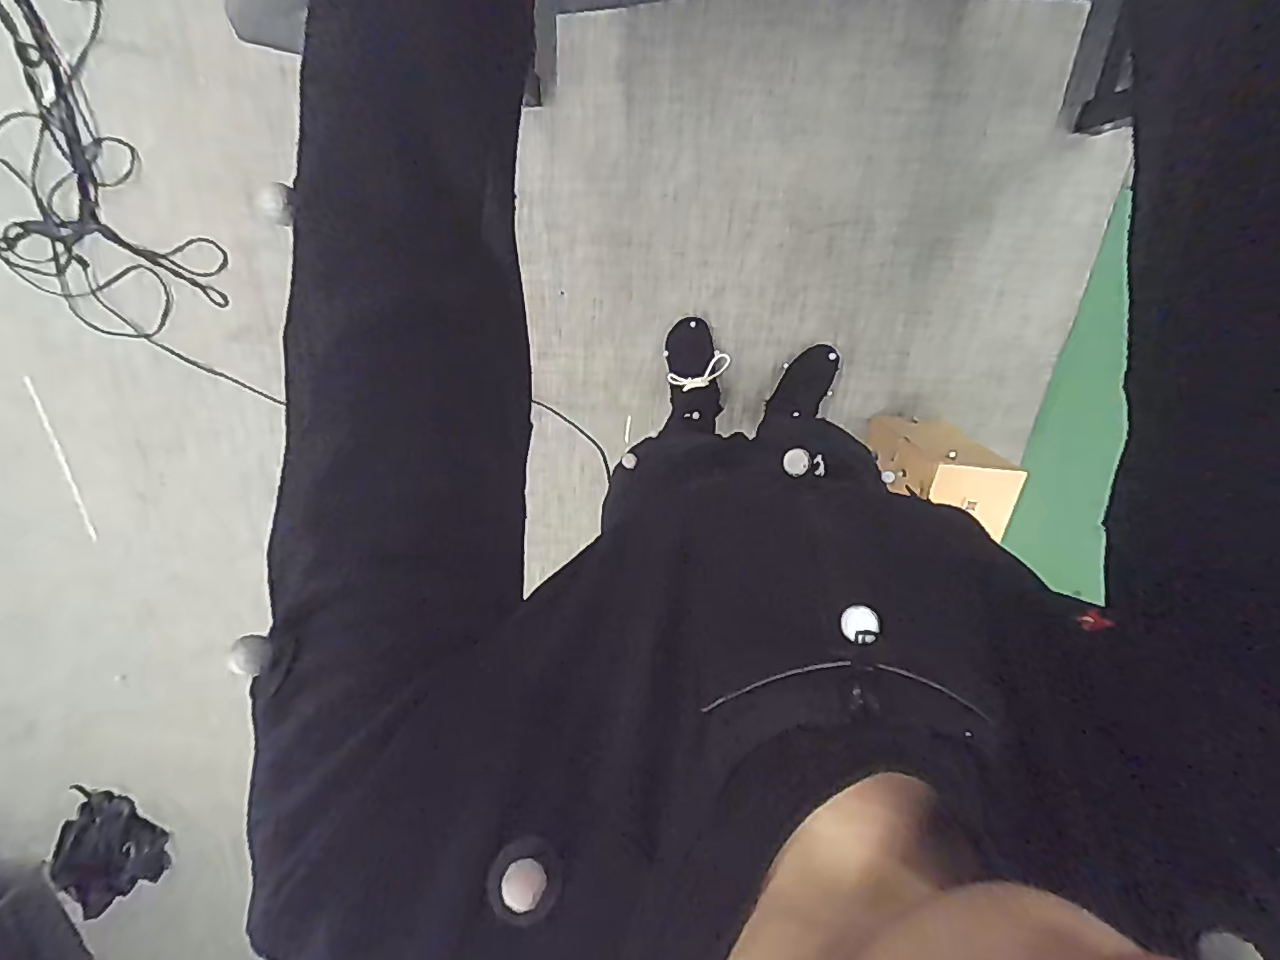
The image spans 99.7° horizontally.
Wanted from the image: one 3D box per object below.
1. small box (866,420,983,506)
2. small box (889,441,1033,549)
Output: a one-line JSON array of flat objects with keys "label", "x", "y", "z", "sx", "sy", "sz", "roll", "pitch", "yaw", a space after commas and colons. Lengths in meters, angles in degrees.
[{"label": "small box", "x": 0.654, "y": -0.039, "z": 1.270, "sx": 0.179, "sy": 0.176, "sz": 0.168, "roll": 4, "pitch": 112, "yaw": 2}, {"label": "small box", "x": 0.650, "y": 0.026, "z": 1.119, "sx": 0.179, "sy": 0.176, "sz": 0.168, "roll": 5, "pitch": 113, "yaw": 0}]
